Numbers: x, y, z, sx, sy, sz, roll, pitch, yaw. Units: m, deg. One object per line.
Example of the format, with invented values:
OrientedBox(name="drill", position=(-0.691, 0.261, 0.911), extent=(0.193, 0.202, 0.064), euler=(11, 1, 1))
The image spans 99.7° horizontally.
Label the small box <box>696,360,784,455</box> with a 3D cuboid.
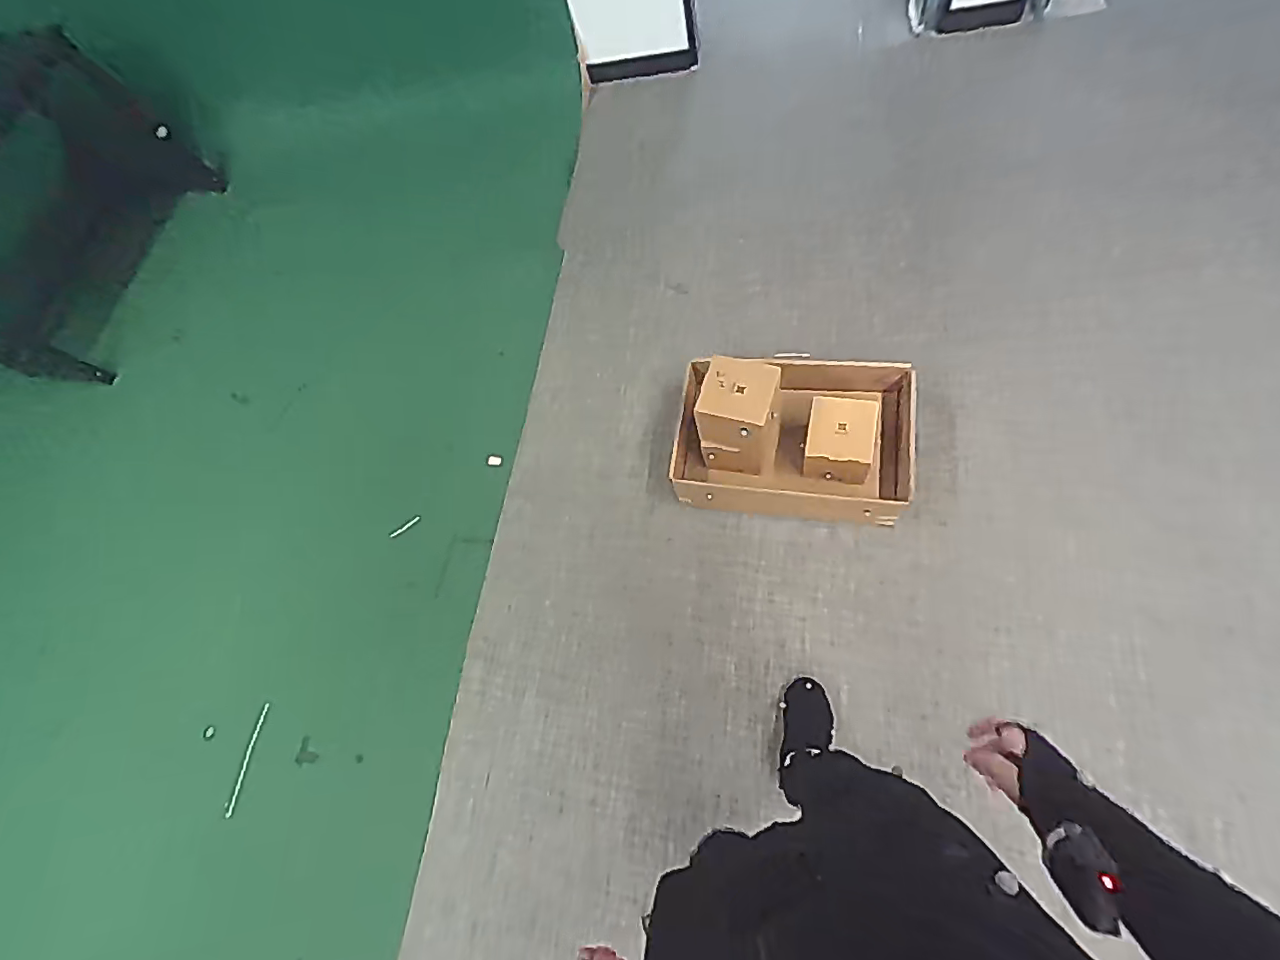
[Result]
OrientedBox(name="small box", position=(0.257, -0.180, 1.384), extent=(0.179, 0.176, 0.168), euler=(15, 72, 17))
